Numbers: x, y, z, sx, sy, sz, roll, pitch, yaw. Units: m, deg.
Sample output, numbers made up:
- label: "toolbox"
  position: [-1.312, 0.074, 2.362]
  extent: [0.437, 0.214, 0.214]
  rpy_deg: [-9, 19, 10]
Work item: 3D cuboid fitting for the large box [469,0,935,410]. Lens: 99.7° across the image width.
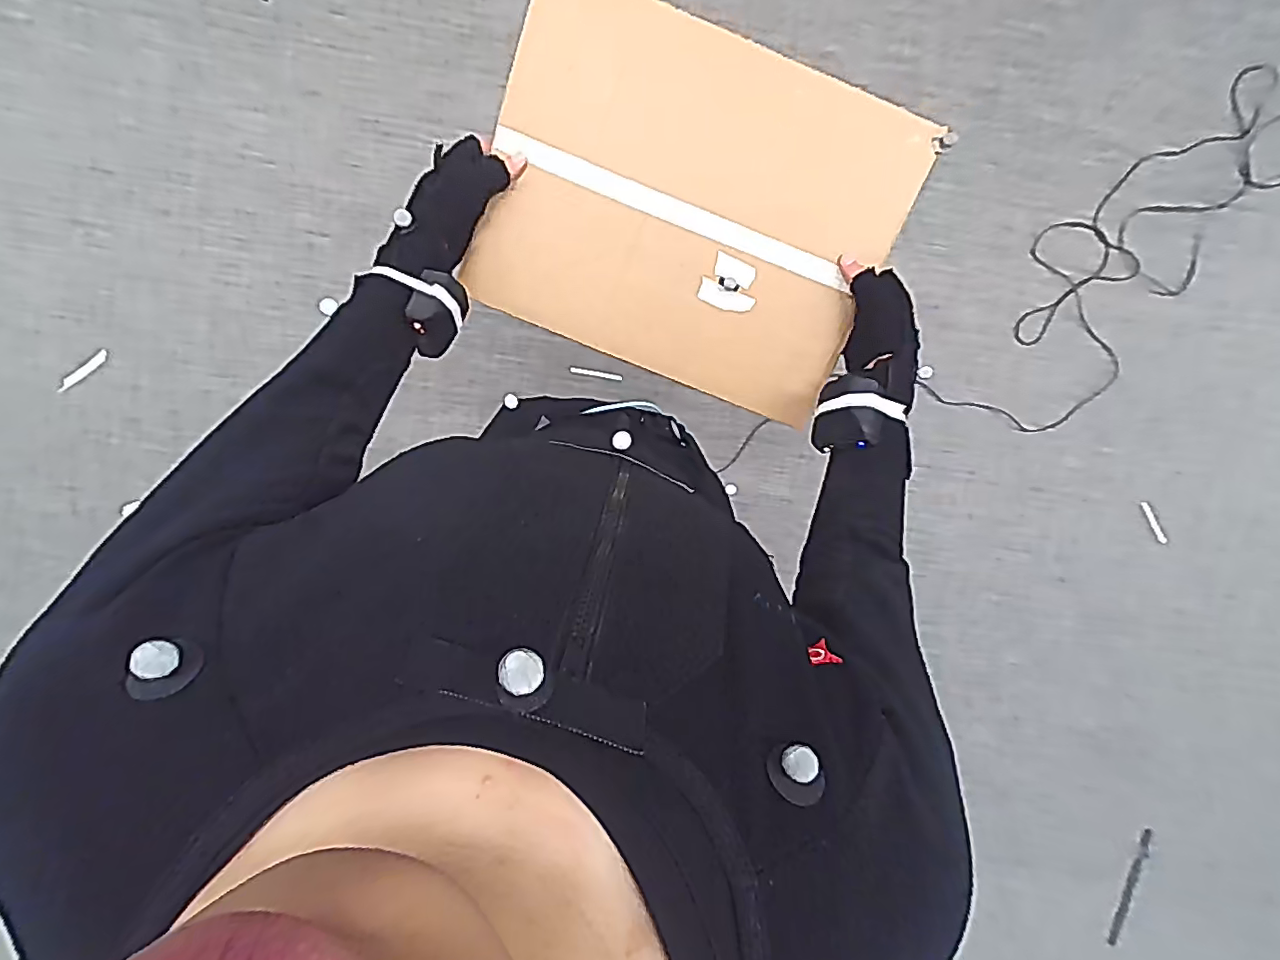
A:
- label: "large box"
  position: [0.054, -0.322, 0.693]
  extent: [0.408, 0.320, 0.320]
  rpy_deg: [20, 108, -5]
